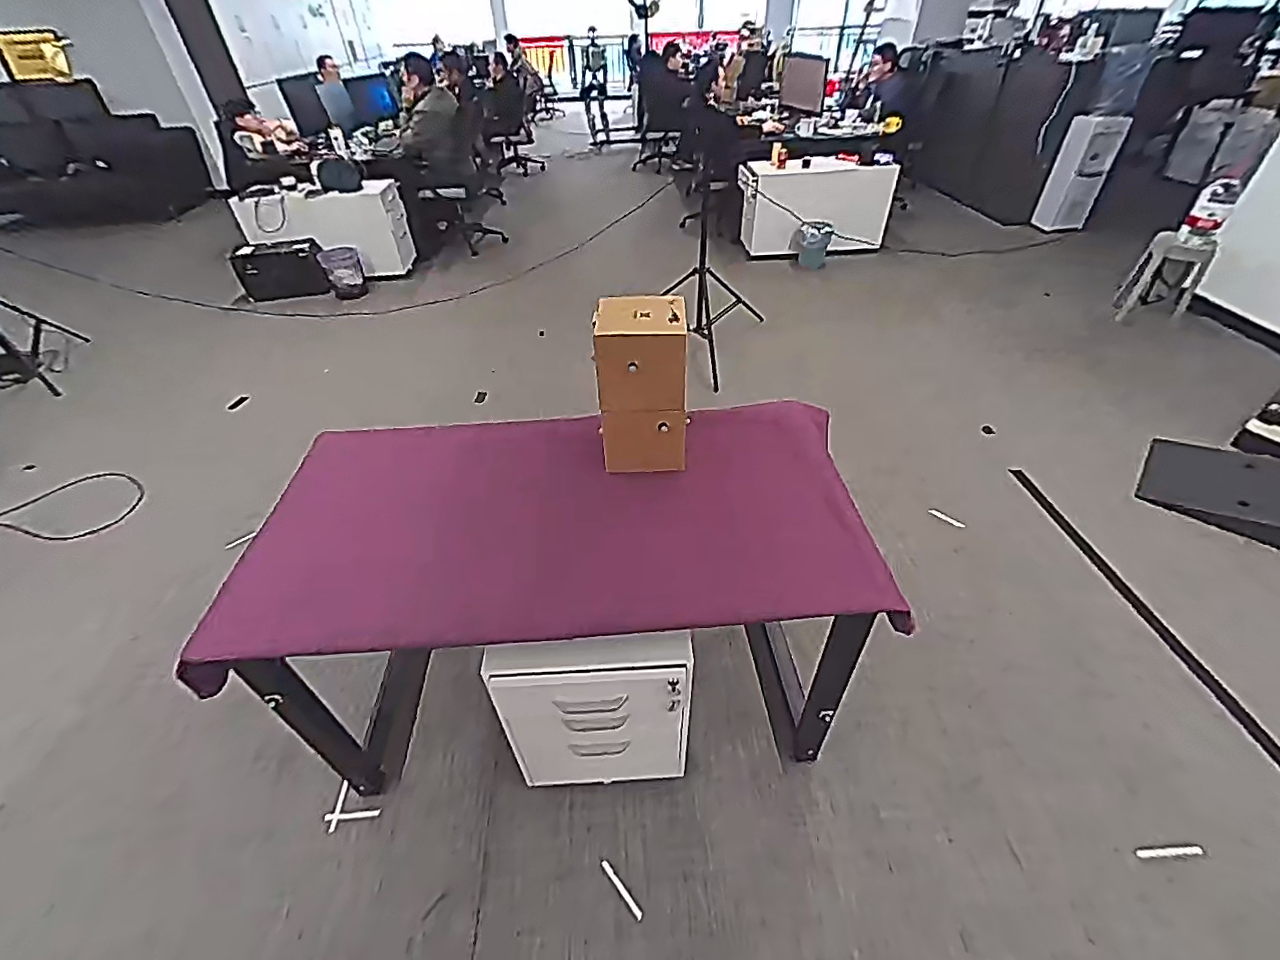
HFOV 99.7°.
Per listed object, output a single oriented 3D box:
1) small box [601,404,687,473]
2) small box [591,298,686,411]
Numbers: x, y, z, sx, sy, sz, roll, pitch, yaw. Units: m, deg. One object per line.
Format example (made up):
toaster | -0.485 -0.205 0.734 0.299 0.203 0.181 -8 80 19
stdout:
small box | 0.010 -0.128 1.205 0.179 0.176 0.168 -2 42 1
small box | 0.003 -0.252 1.097 0.179 0.176 0.168 -1 42 3
